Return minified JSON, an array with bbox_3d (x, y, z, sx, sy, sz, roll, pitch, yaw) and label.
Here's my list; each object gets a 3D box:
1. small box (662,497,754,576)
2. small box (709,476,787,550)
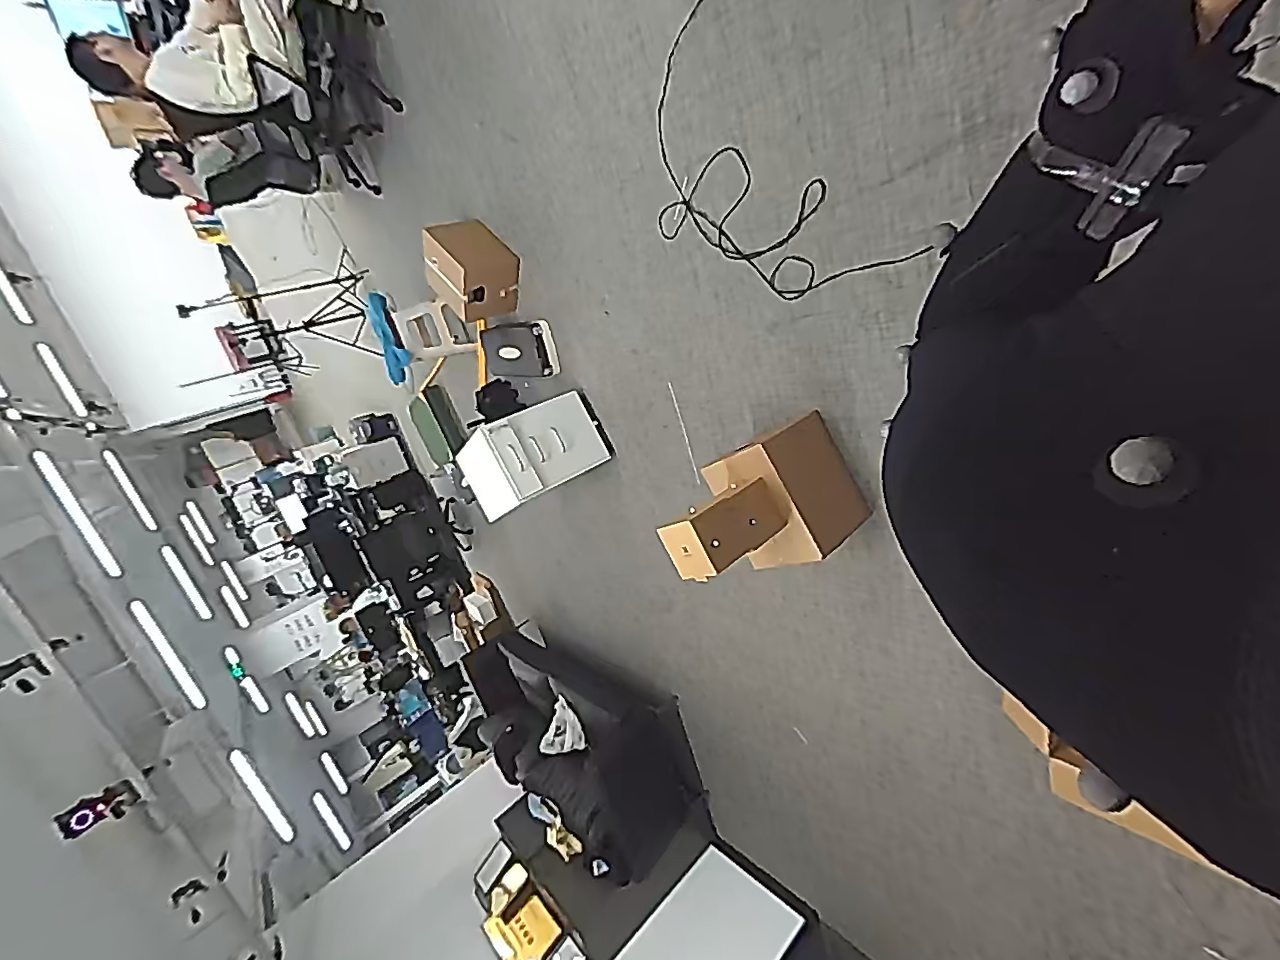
[{"bbox_3d":[0.203,0.162,1.599,0.168,0.176,0.179,-24,95,55],"label":"small box"},{"bbox_3d":[0.327,0.109,1.690,0.168,0.176,0.179,-25,93,56],"label":"small box"}]
